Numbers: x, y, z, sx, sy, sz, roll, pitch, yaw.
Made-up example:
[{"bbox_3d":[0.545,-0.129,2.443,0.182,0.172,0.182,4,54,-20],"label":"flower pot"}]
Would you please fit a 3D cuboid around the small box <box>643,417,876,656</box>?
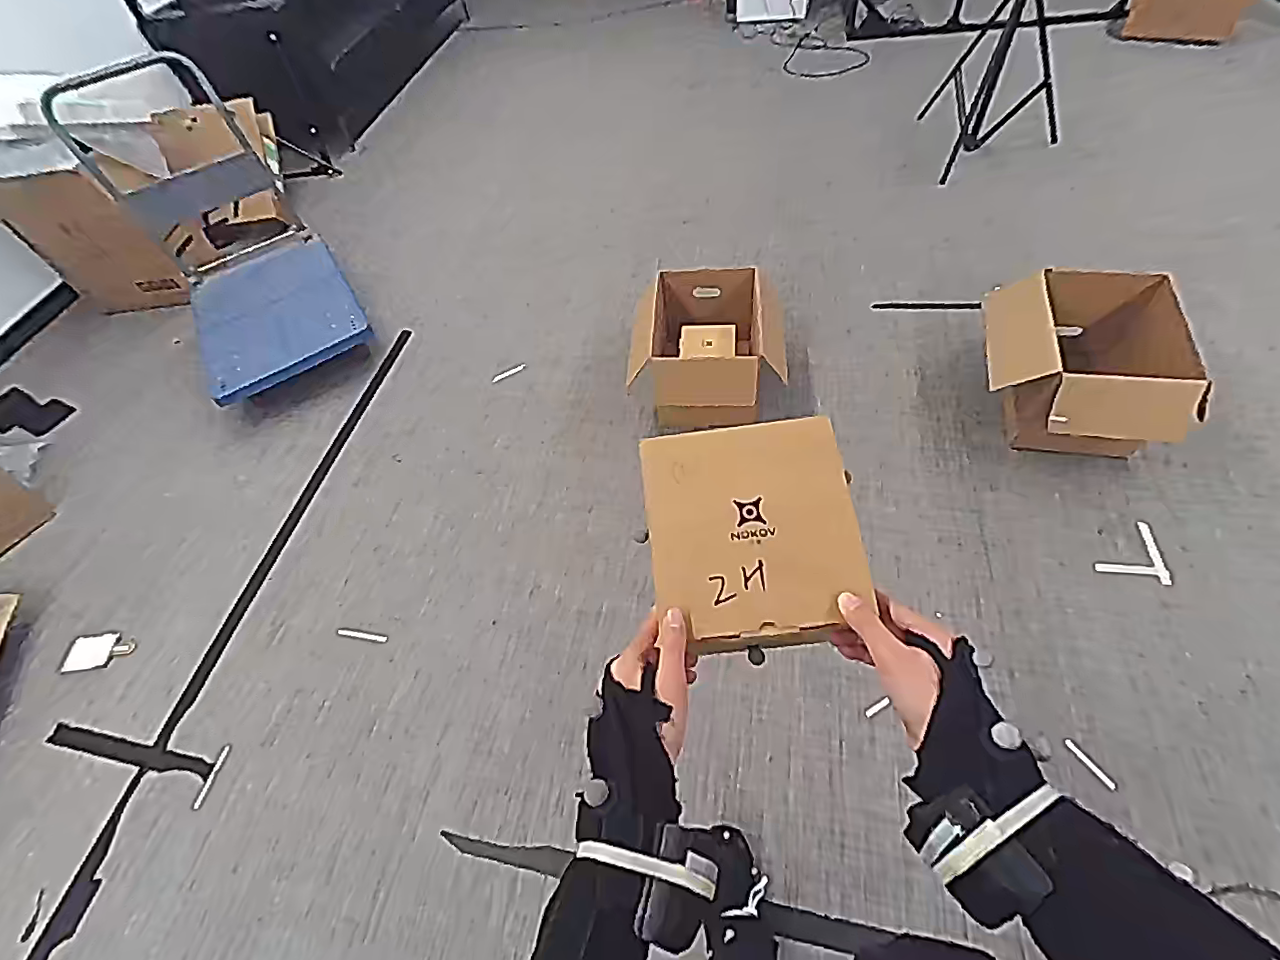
[{"bbox_3d":[0.095,0.063,0.509,0.168,0.176,0.179,-7,68,4],"label":"small box"}]
